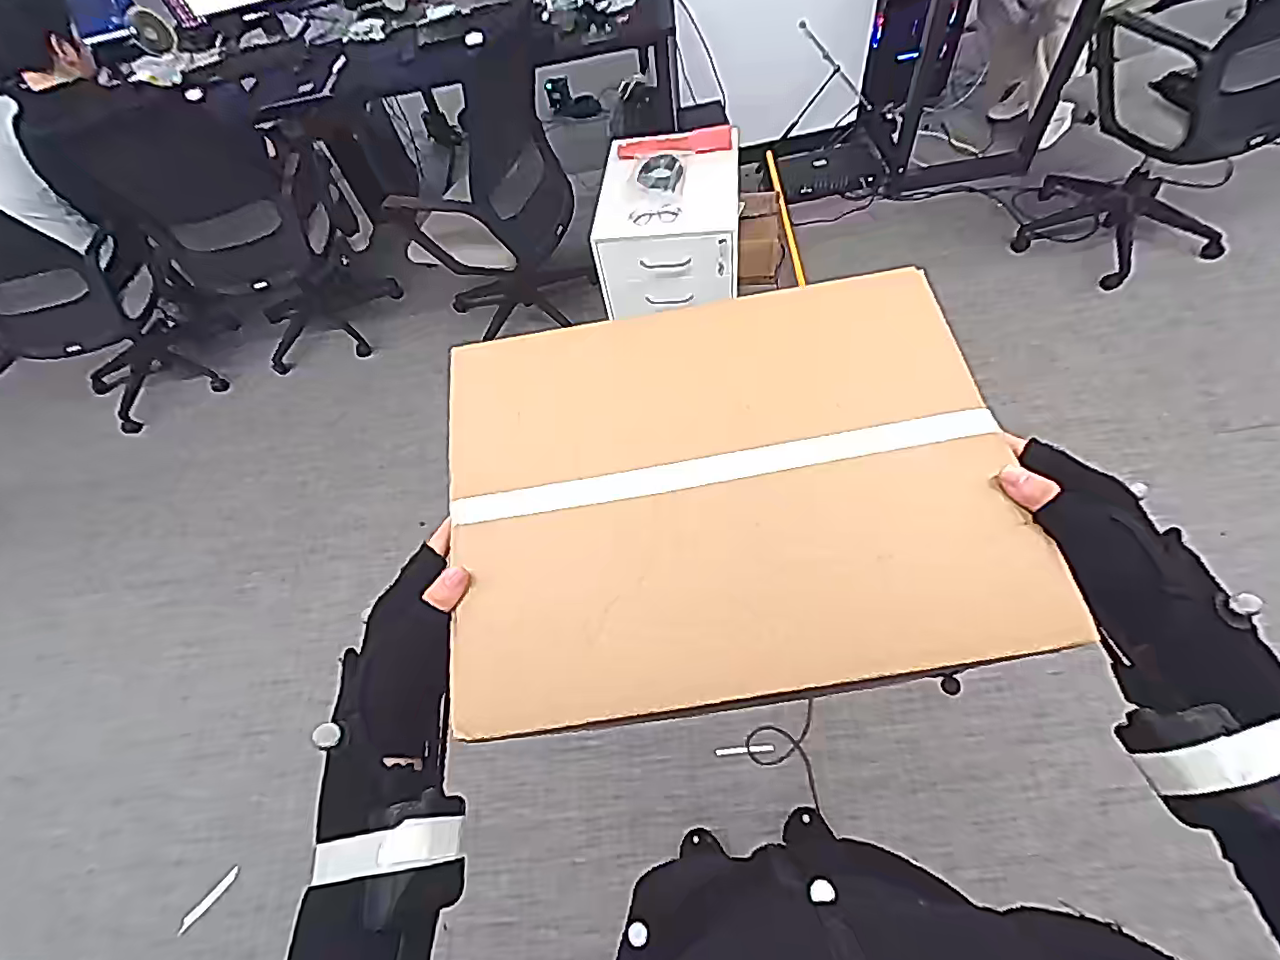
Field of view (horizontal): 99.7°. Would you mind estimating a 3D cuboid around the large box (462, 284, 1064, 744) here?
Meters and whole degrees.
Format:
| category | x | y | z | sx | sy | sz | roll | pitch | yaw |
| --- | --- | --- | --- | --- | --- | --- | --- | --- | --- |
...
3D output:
| category | x | y | z | sx | sy | sz | roll | pitch | yaw |
| --- | --- | --- | --- | --- | --- | --- | --- | --- | --- |
| large box | 0.075 | 0.060 | 0.549 | 0.408 | 0.320 | 0.320 | -10 | 65 | 2 |
